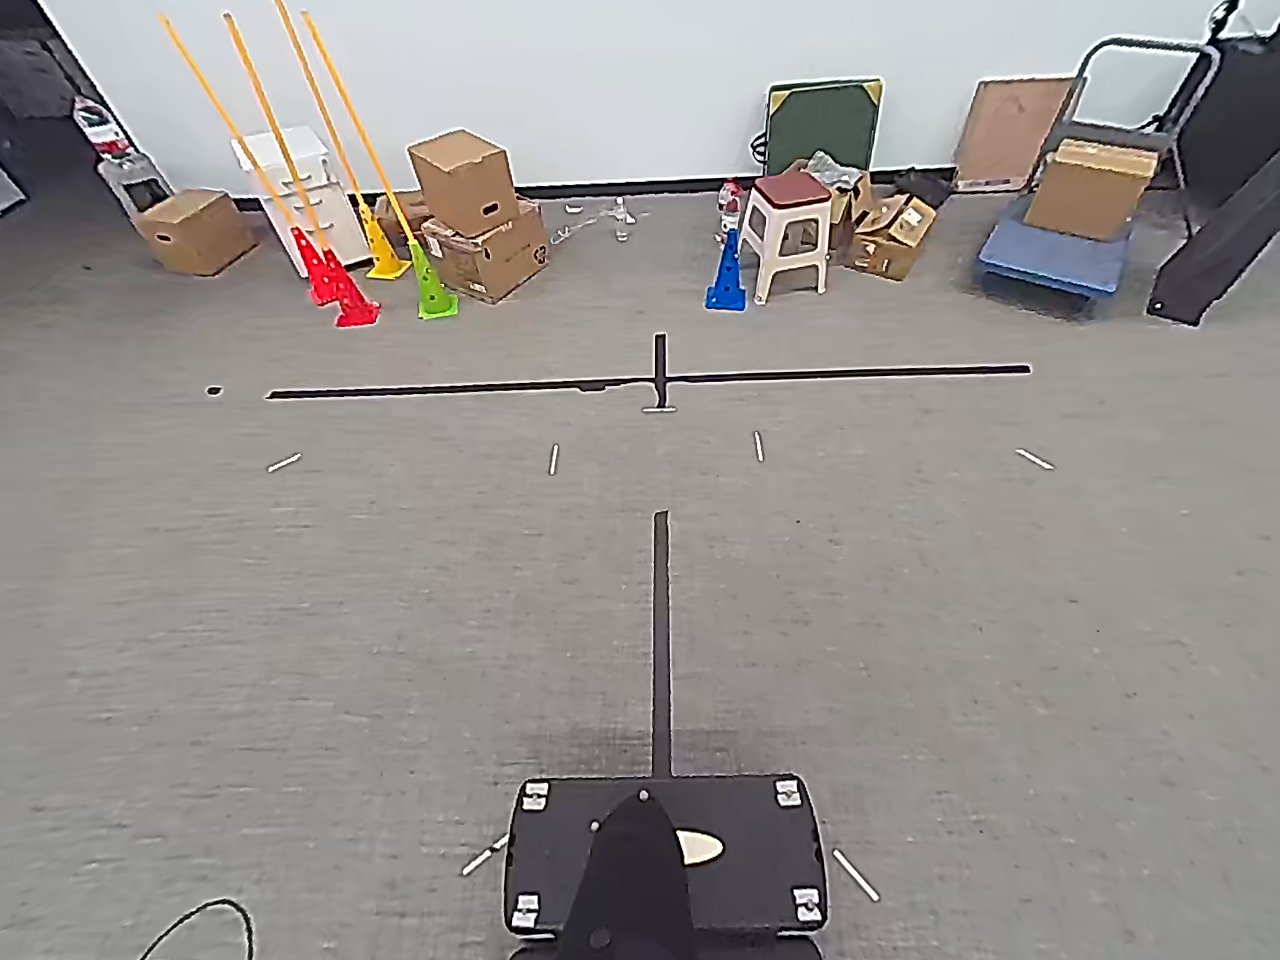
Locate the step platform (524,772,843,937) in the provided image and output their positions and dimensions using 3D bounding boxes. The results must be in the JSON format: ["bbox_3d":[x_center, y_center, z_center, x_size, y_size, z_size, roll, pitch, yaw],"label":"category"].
[{"bbox_3d":[0.087,0.831,1.213,0.684,0.204,0.286,-2,50,0],"label":"step platform"}]
